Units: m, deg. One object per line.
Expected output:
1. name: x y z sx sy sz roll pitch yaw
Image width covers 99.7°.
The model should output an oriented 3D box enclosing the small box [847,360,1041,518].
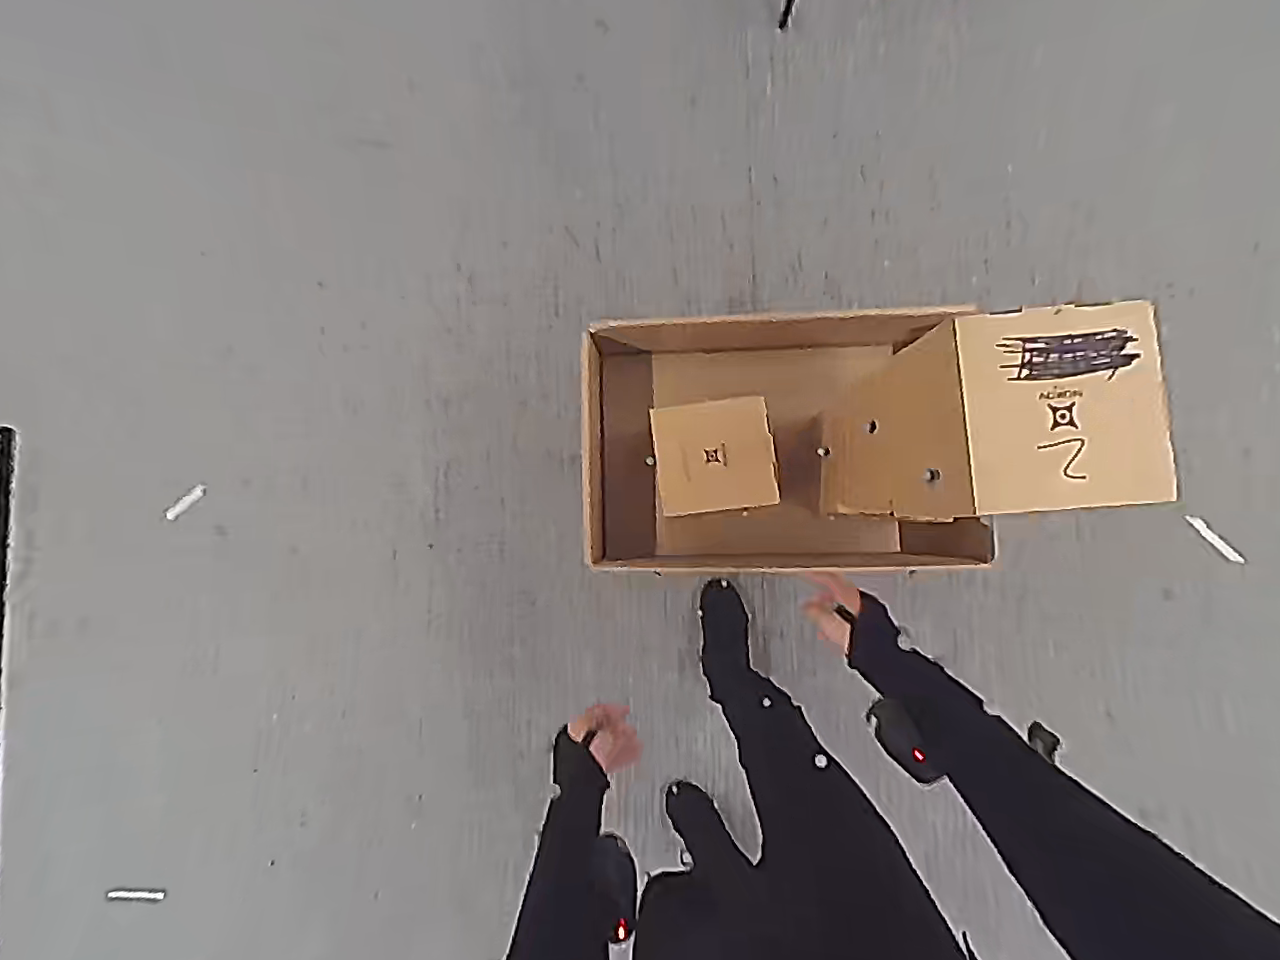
1. small box: 0.376 -0.043 0.697 0.168 0.176 0.179 2 86 3
